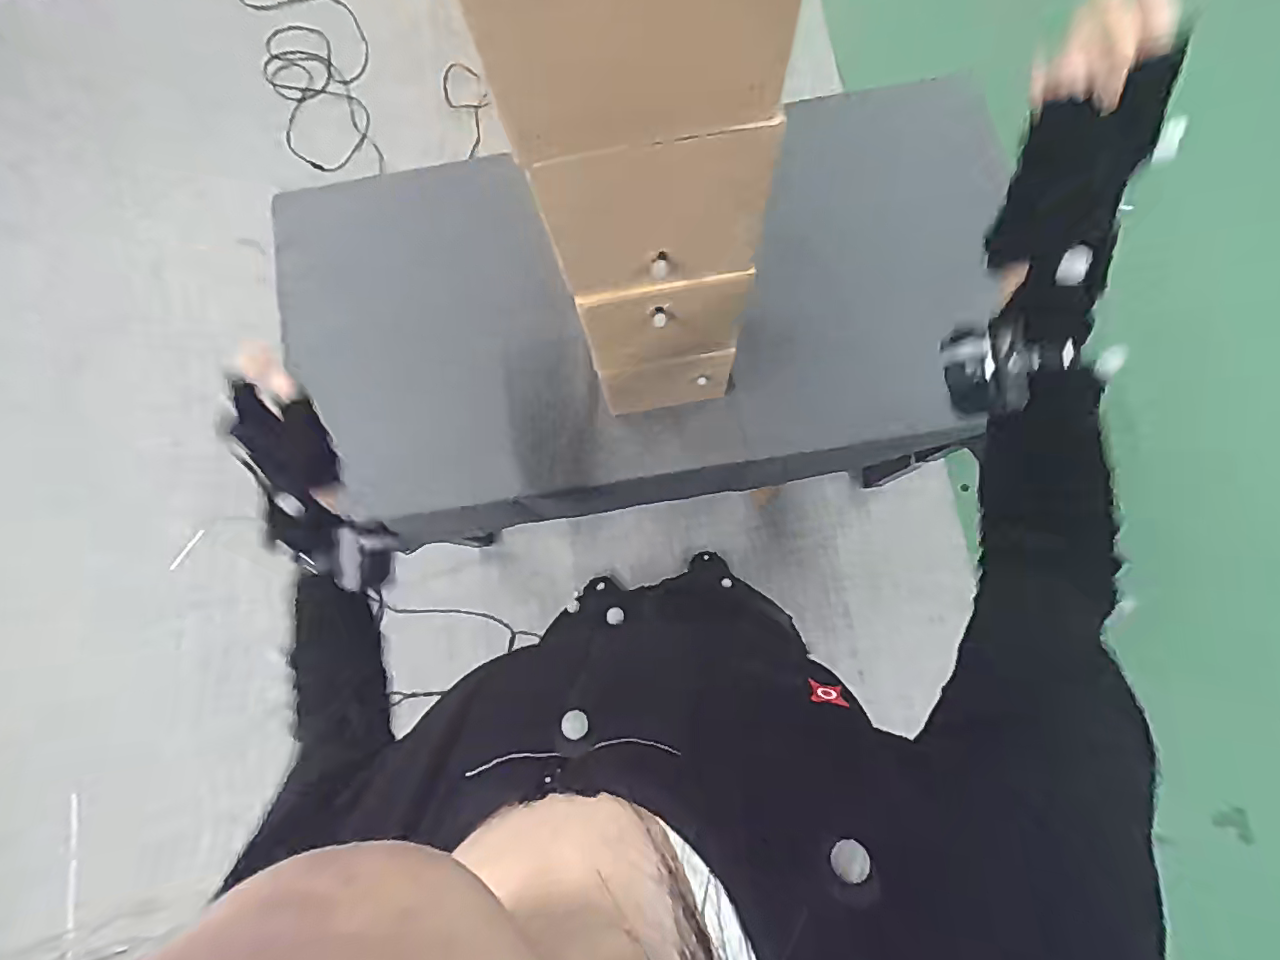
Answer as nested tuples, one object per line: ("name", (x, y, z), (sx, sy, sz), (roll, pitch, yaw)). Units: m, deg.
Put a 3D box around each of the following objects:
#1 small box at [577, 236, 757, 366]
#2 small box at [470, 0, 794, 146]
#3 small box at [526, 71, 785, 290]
("small box", (0.018, -0.247, 0.611), (0.179, 0.176, 0.168), (-10, 78, 2))
("small box", (-0.012, -0.318, 0.292), (0.179, 0.176, 0.168), (-9, 79, 1))
("small box", (0.005, -0.284, 0.452), (0.179, 0.176, 0.168), (-8, 78, 2))
